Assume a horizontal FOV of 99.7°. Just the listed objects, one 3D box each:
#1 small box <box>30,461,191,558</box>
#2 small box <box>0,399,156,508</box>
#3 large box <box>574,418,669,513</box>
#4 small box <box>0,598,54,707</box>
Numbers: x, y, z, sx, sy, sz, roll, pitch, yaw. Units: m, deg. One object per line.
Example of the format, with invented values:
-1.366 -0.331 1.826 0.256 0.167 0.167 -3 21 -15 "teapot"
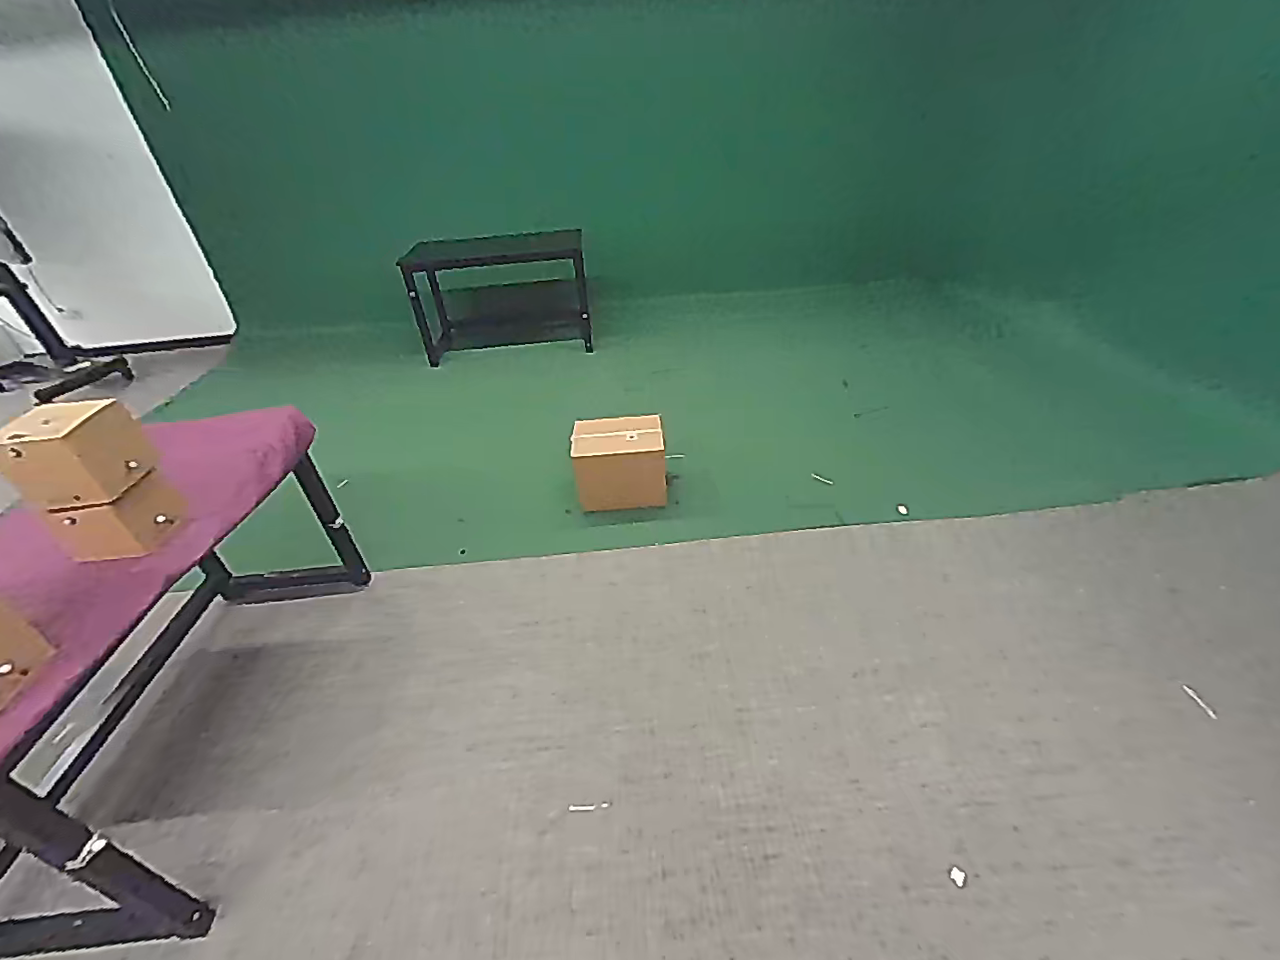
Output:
-1.243 0.072 1.286 0.179 0.176 0.168 -4 36 0 "small box"
-1.226 -0.060 1.185 0.168 0.176 0.179 -6 35 -2 "small box"
-0.083 -0.069 2.483 0.408 0.320 0.320 -4 36 1 "large box"
-1.208 0.318 0.929 0.179 0.176 0.168 -7 36 -1 "small box"
